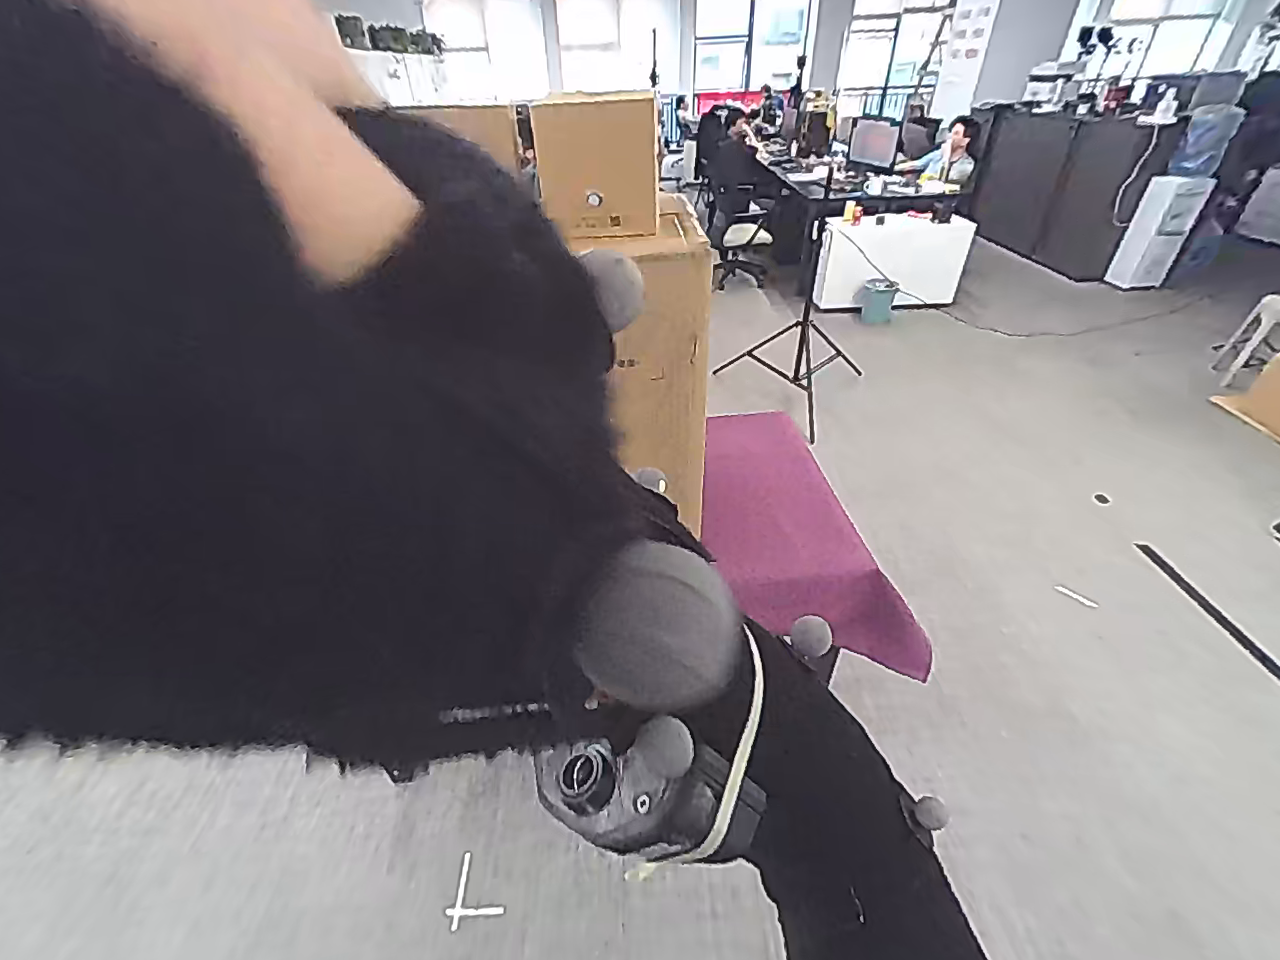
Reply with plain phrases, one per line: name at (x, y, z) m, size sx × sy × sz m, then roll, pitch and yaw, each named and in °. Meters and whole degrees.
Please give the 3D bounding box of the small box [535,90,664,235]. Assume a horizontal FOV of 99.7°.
small box at (-0.050, -0.476, 0.811) m, size 0.168 × 0.176 × 0.179 m, roll -1°, pitch 38°, yaw 4°

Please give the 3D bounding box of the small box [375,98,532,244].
small box at (-0.257, -0.457, 0.798) m, size 0.179 × 0.176 × 0.168 m, roll -6°, pitch 36°, yaw -6°
